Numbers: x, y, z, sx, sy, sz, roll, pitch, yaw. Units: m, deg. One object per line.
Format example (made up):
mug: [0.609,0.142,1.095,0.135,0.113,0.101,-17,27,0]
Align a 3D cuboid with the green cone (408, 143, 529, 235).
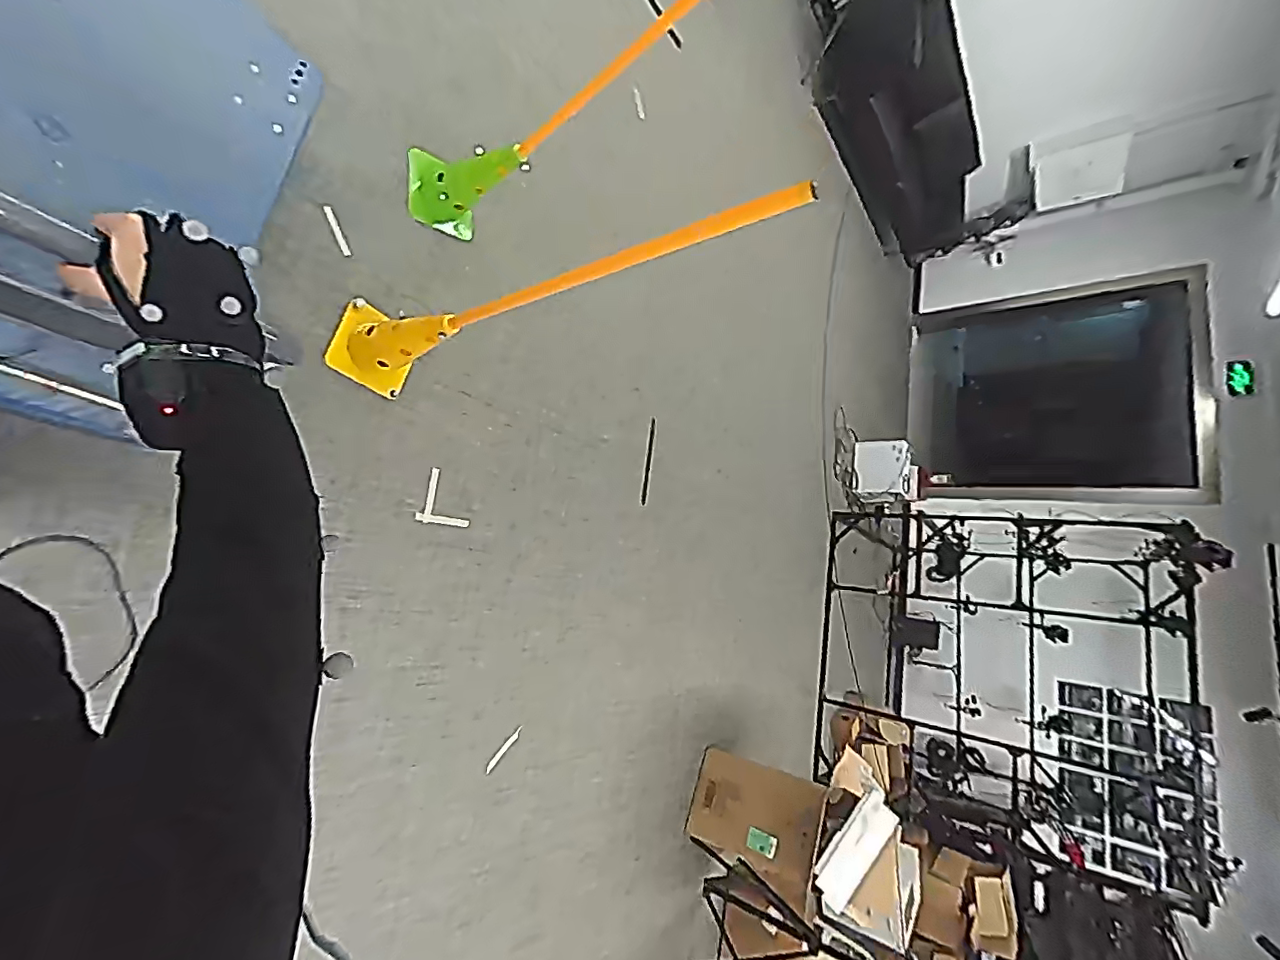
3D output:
green cone: [-0.437,-0.828,1.451,0.200,0.368,0.202,0,91,-53]
